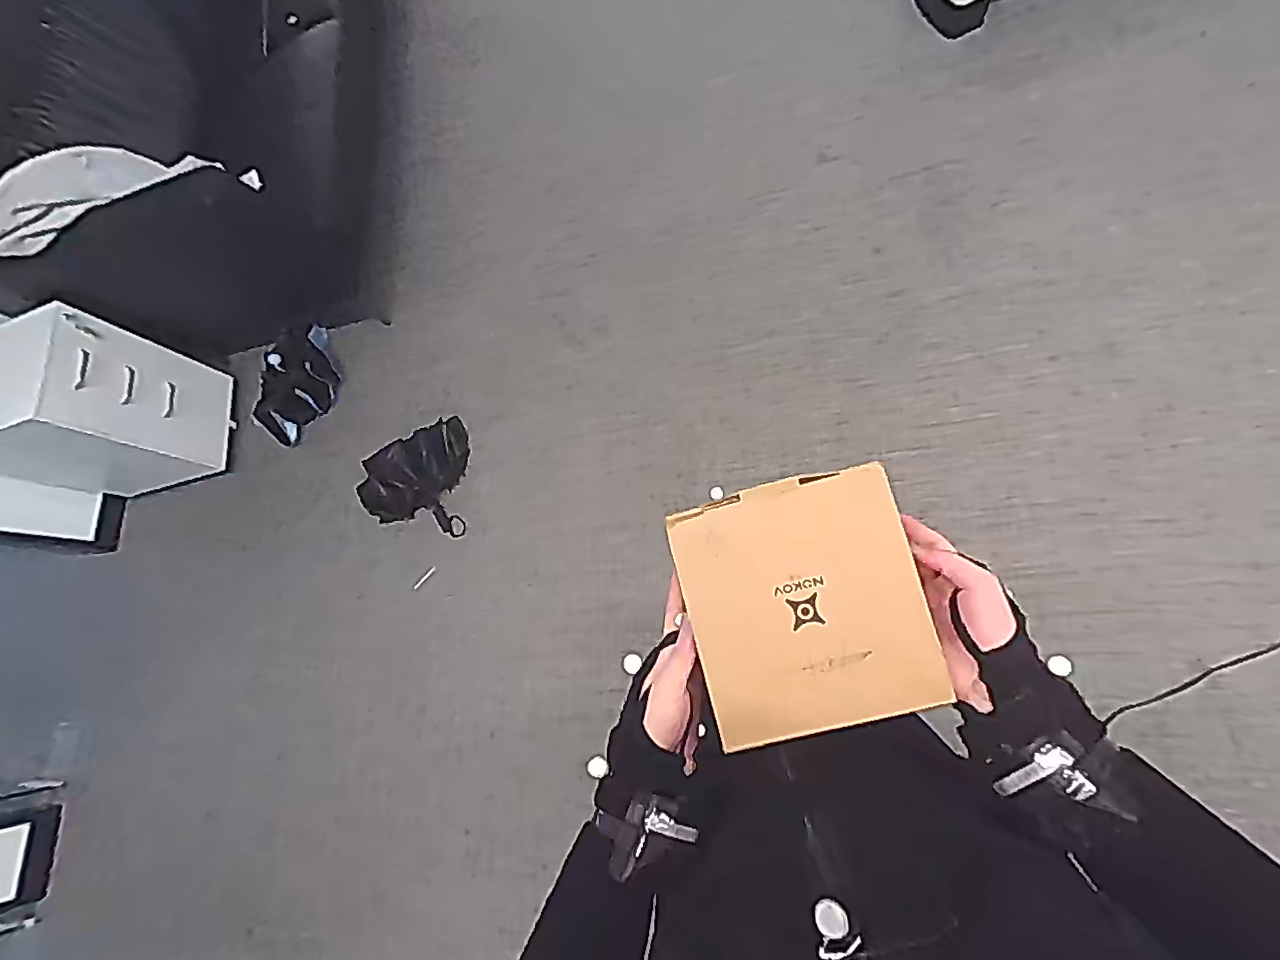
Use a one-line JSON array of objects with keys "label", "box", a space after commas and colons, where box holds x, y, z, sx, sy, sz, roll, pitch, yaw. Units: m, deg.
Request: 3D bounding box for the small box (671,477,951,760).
[{"label": "small box", "box": [0.128, 0.106, 0.468, 0.168, 0.176, 0.179, -14, 85, 6]}]
